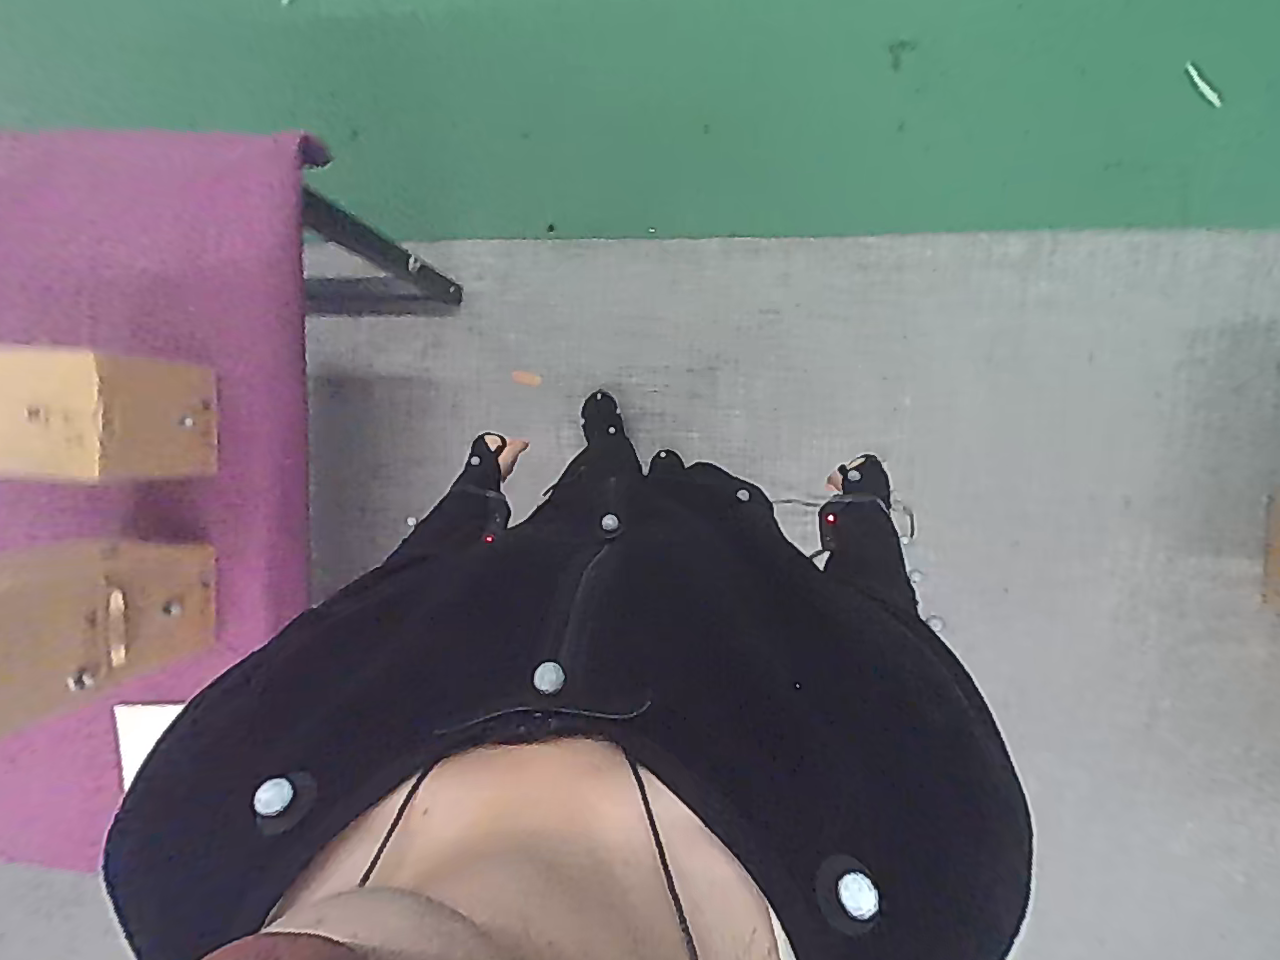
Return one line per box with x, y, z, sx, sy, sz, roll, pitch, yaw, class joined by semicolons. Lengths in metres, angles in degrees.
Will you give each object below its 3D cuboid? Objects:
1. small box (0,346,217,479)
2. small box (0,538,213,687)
-0.755;-0.092;0.770;0.179;0.176;0.168;3;95;6;small box
-0.773;0.182;0.793;0.179;0.176;0.168;3;94;5;small box
